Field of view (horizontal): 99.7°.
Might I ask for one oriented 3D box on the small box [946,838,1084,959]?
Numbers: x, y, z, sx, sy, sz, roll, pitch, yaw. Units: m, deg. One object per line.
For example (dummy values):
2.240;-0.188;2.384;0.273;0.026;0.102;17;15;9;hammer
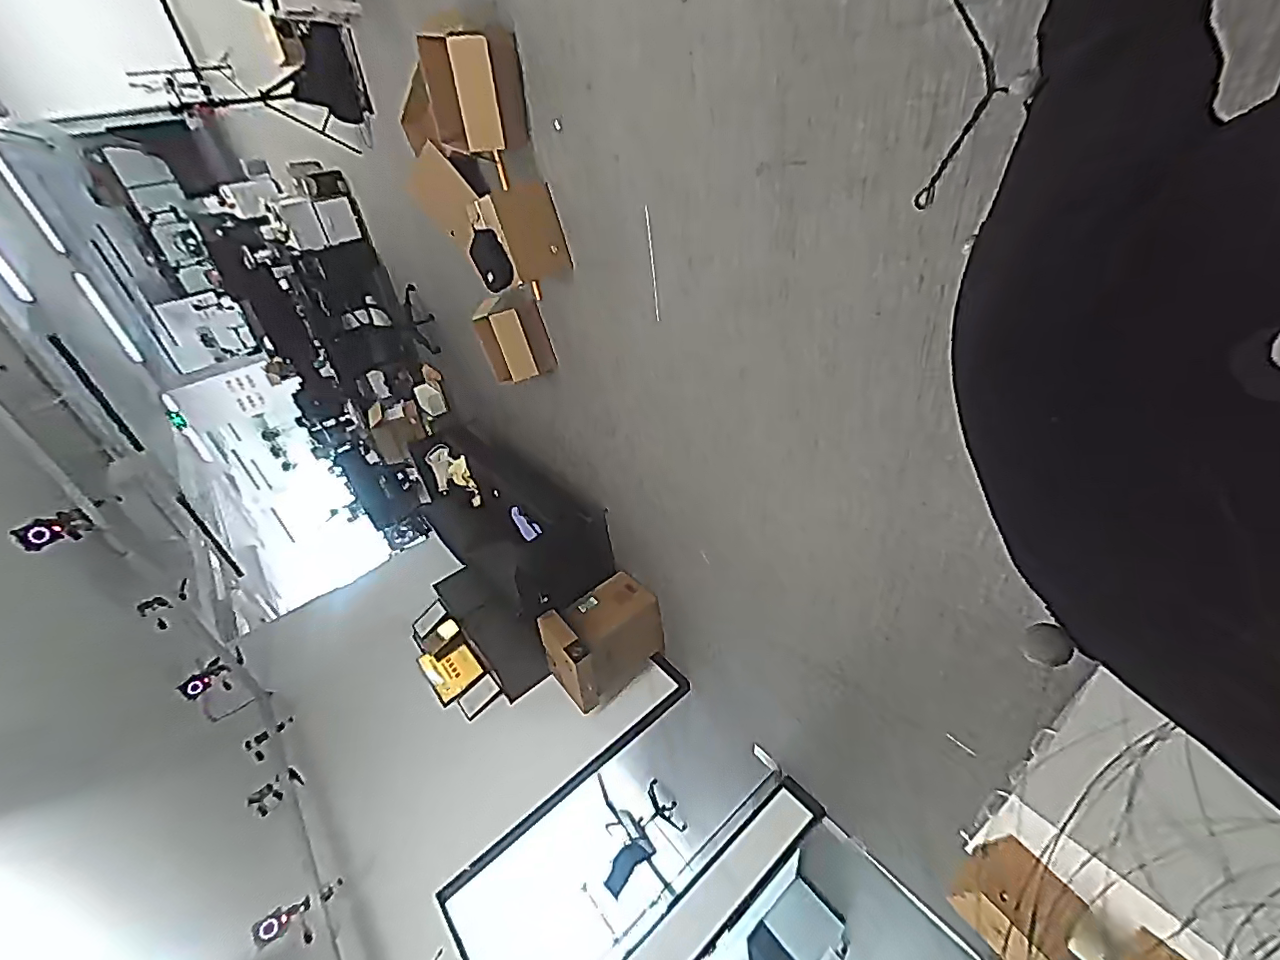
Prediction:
0.859;0.973;1.242;0.179;0.176;0.168;43;148;29;small box
